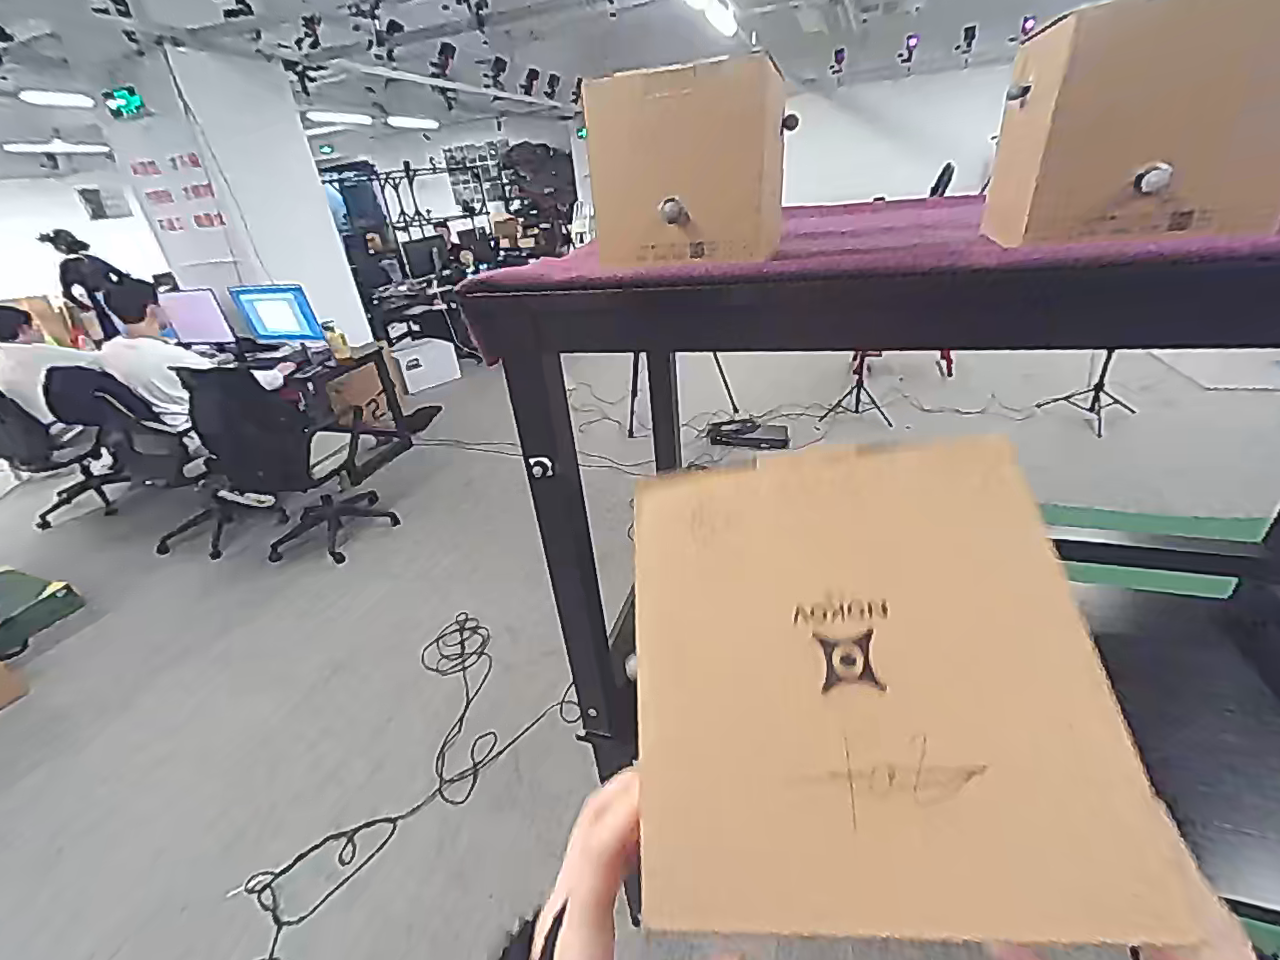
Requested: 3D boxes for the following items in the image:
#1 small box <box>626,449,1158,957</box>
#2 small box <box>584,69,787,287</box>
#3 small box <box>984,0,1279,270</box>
[{"bbox_3d":[0.092,0.106,0.283,0.168,0.176,0.179,-7,64,12],"label":"small box"},{"bbox_3d":[0.057,-0.304,0.566,0.168,0.176,0.179,5,30,19],"label":"small box"},{"bbox_3d":[0.415,-0.283,0.462,0.168,0.176,0.179,5,32,19],"label":"small box"}]
